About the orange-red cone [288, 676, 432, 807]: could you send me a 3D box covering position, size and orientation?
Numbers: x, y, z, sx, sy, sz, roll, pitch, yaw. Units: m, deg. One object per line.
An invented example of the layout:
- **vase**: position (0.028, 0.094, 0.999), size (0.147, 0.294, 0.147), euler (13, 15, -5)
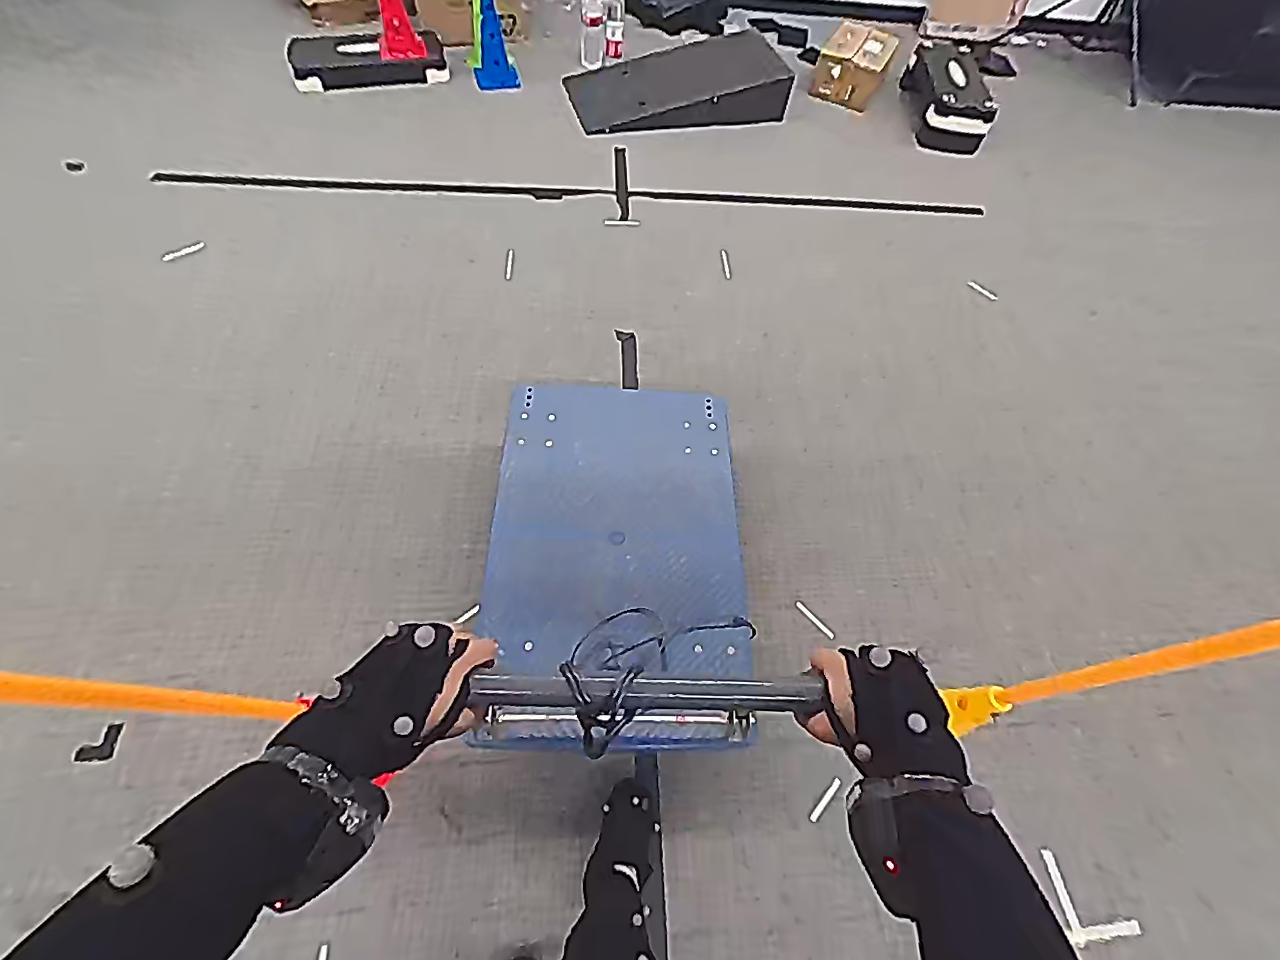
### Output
- **orange-red cone**: position (-0.552, 0.457, 0.997), size (0.198, 0.360, 0.199), euler (40, 62, 16)
